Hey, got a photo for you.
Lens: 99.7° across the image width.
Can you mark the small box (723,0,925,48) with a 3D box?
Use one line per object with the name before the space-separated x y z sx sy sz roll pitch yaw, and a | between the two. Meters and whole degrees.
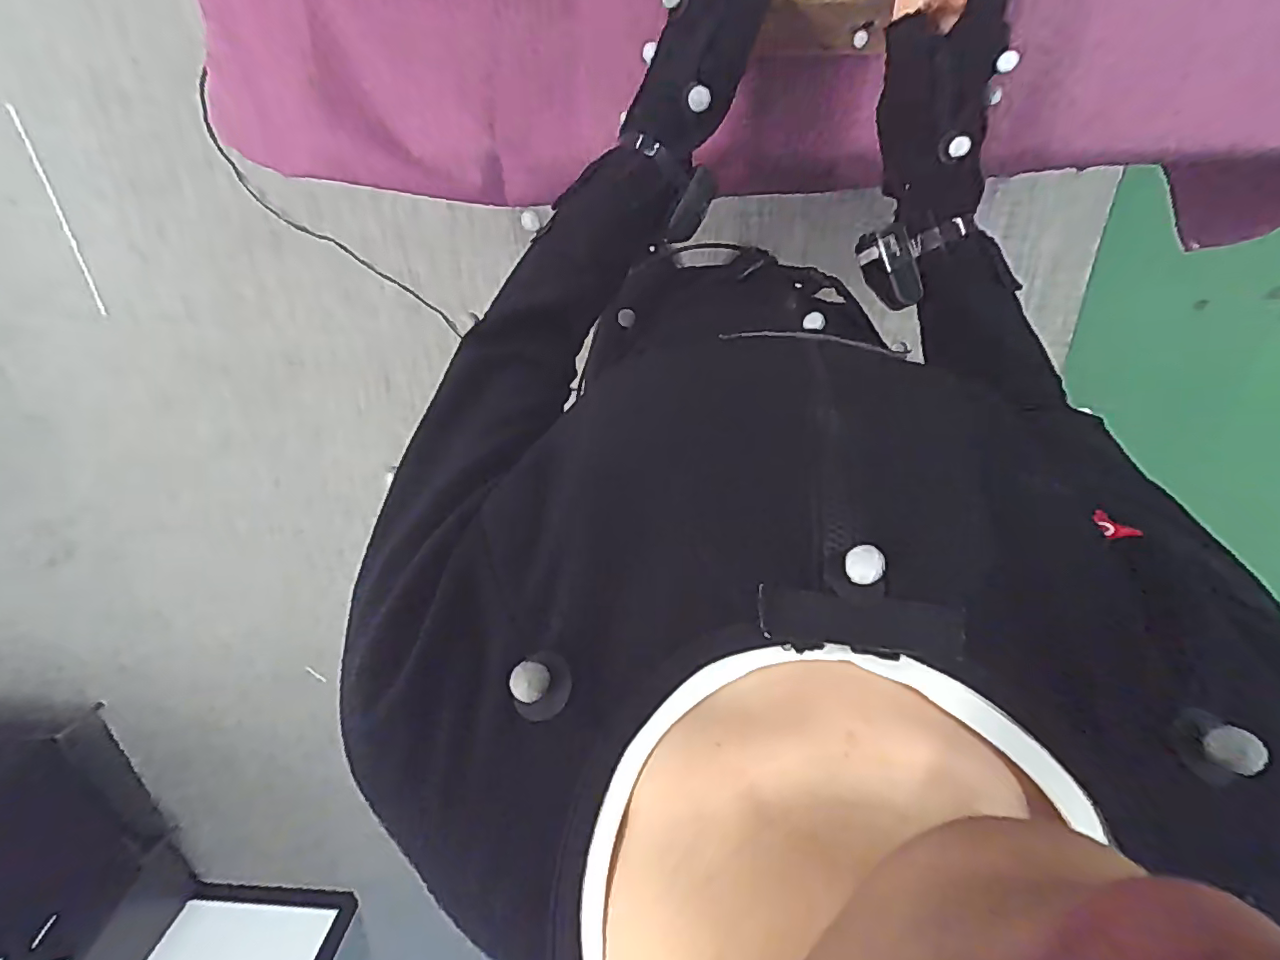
small box | 0.157 -0.469 0.428 0.168 0.176 0.179 2 115 4
